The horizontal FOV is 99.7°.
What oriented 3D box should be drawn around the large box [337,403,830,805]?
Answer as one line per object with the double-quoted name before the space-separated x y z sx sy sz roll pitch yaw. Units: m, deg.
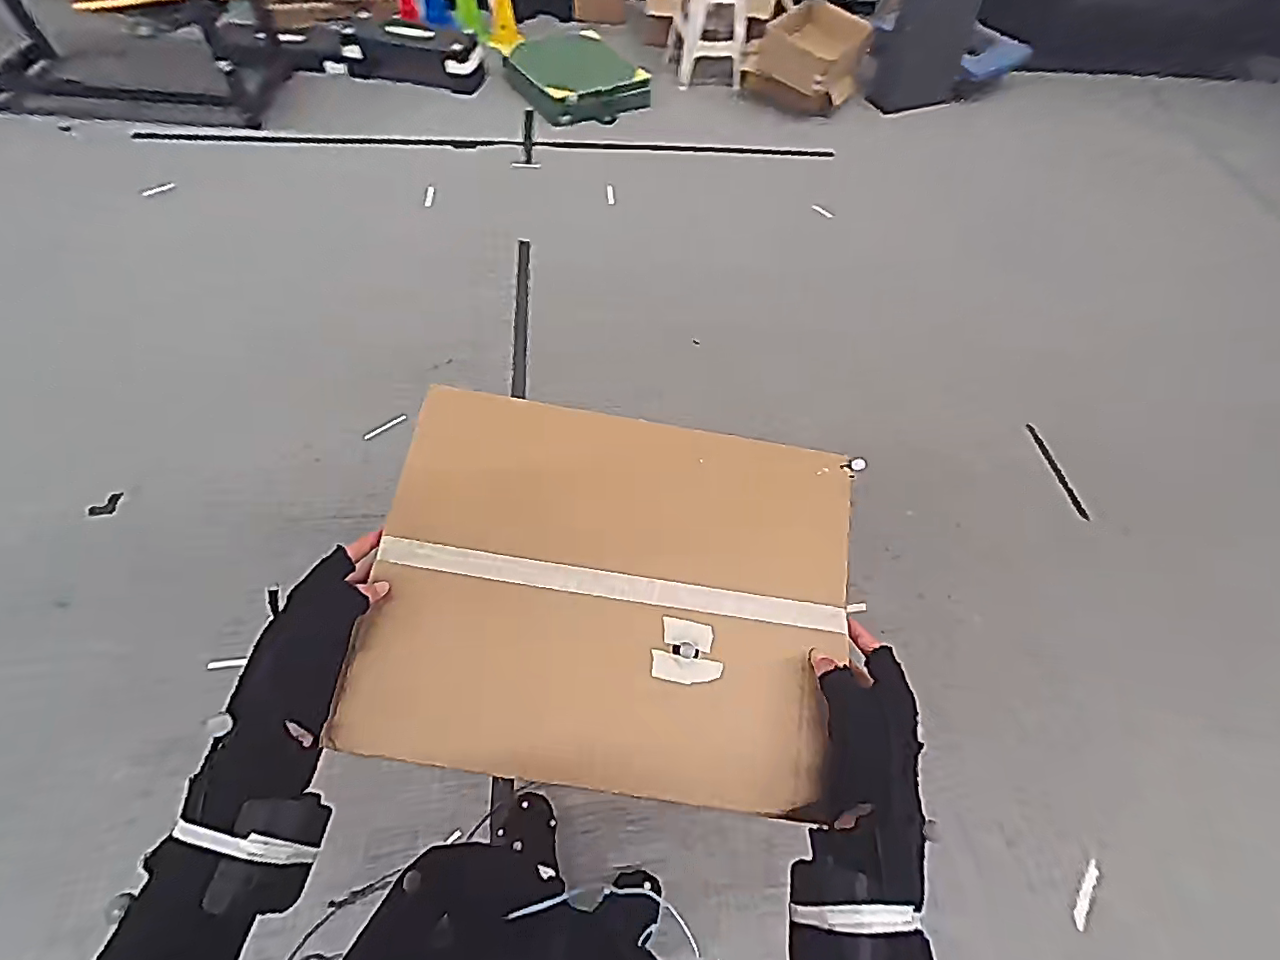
"large box" -0.041 0.142 0.620 0.408 0.320 0.320 9 72 -3
